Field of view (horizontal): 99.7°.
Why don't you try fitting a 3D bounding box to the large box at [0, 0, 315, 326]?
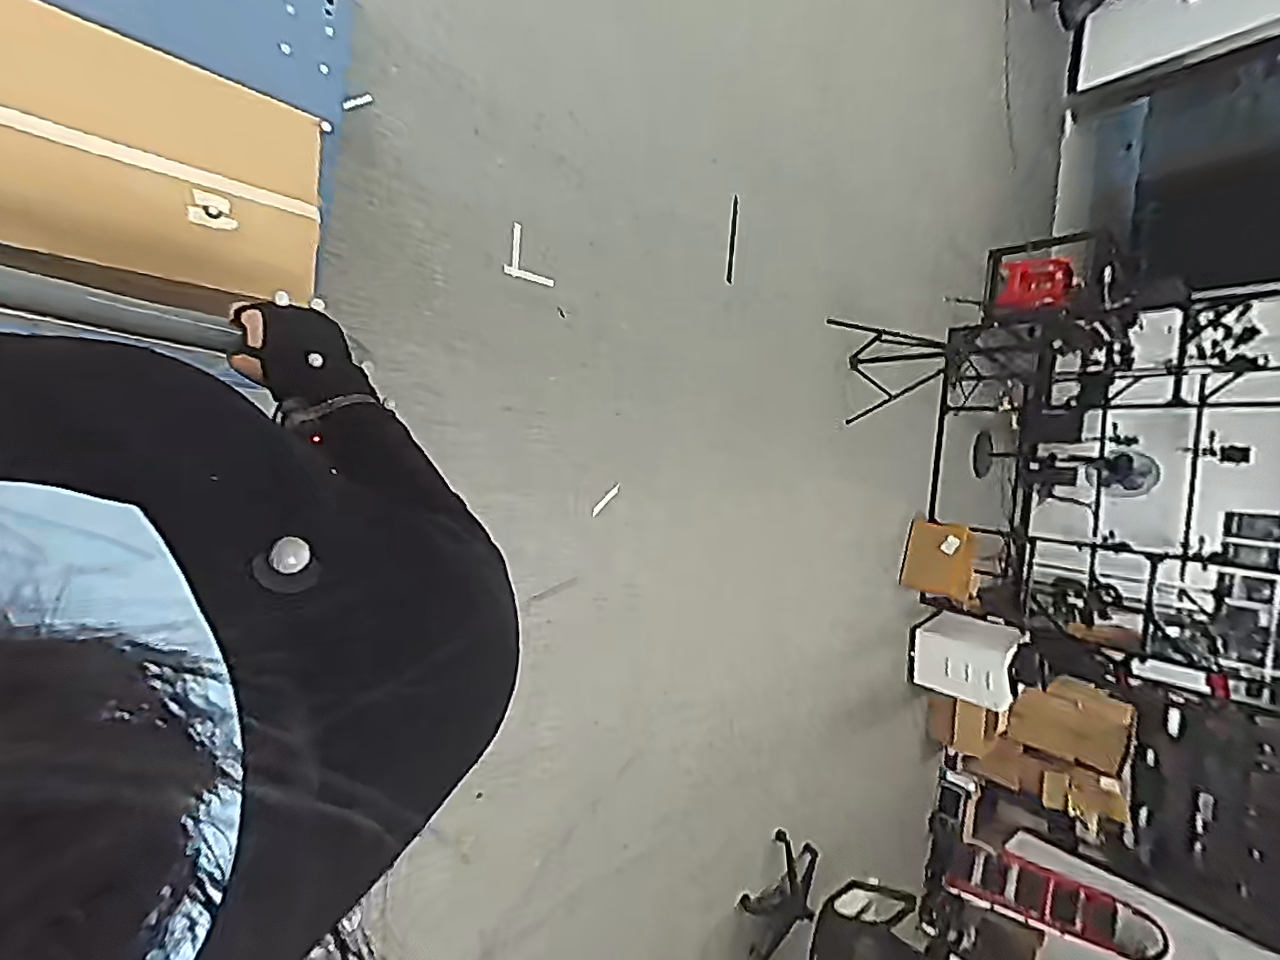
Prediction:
[{"bbox_3d":[-0.796,-0.459,0.873,0.408,0.320,0.320,2,94,-44],"label":"large box"}]
